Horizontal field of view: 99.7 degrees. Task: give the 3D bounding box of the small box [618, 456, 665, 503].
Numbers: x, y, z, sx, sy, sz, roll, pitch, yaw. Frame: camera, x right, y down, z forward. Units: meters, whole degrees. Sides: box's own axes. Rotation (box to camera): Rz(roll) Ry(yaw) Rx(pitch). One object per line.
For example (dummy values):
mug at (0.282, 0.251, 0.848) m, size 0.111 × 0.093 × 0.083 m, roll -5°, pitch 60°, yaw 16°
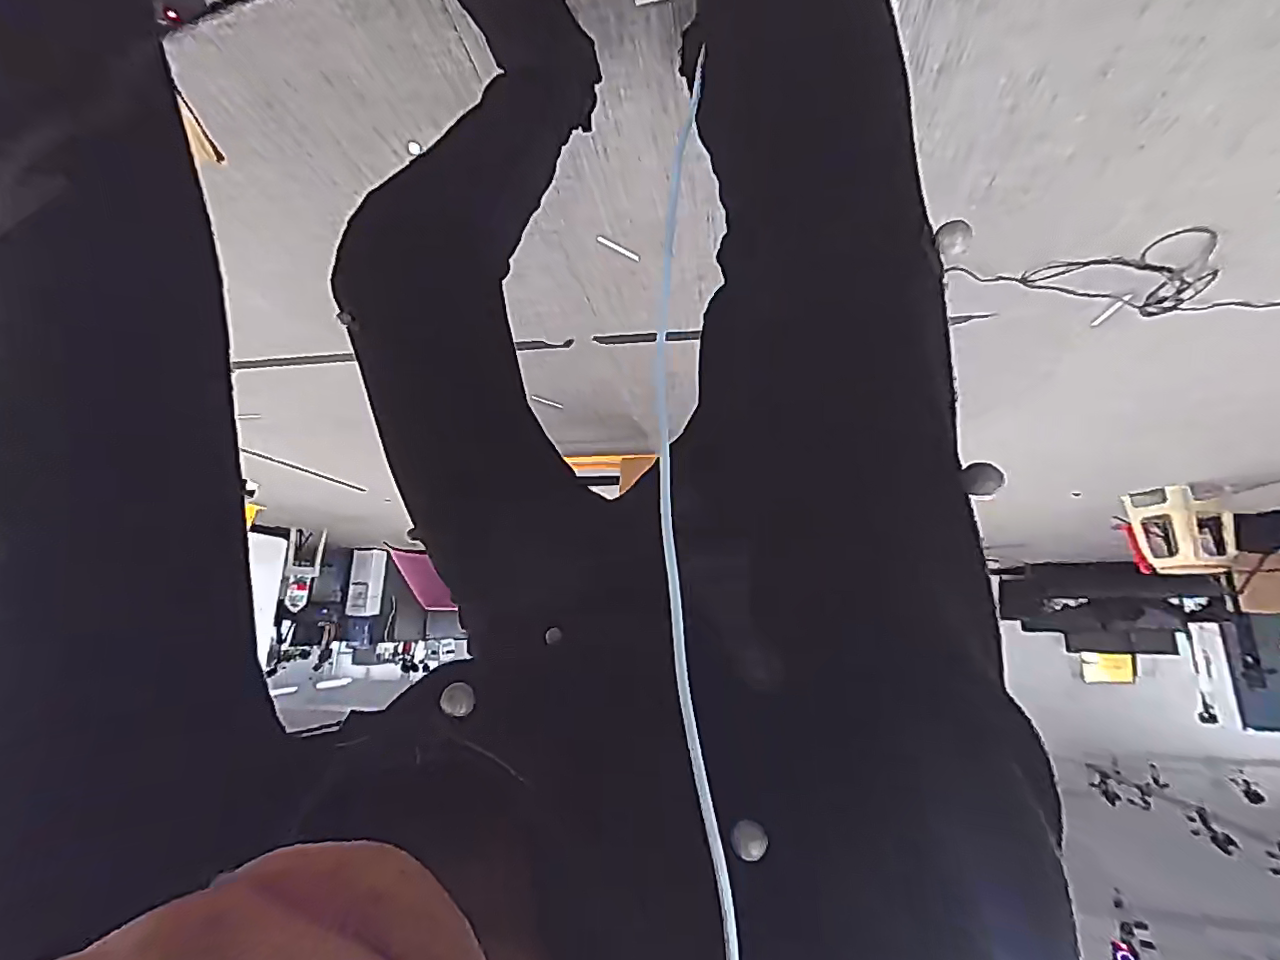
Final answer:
small box at (0.012, 0.000, 2.315) m, size 0.179 × 0.176 × 0.168 m, roll -2°, pitch 166°, yaw 11°
